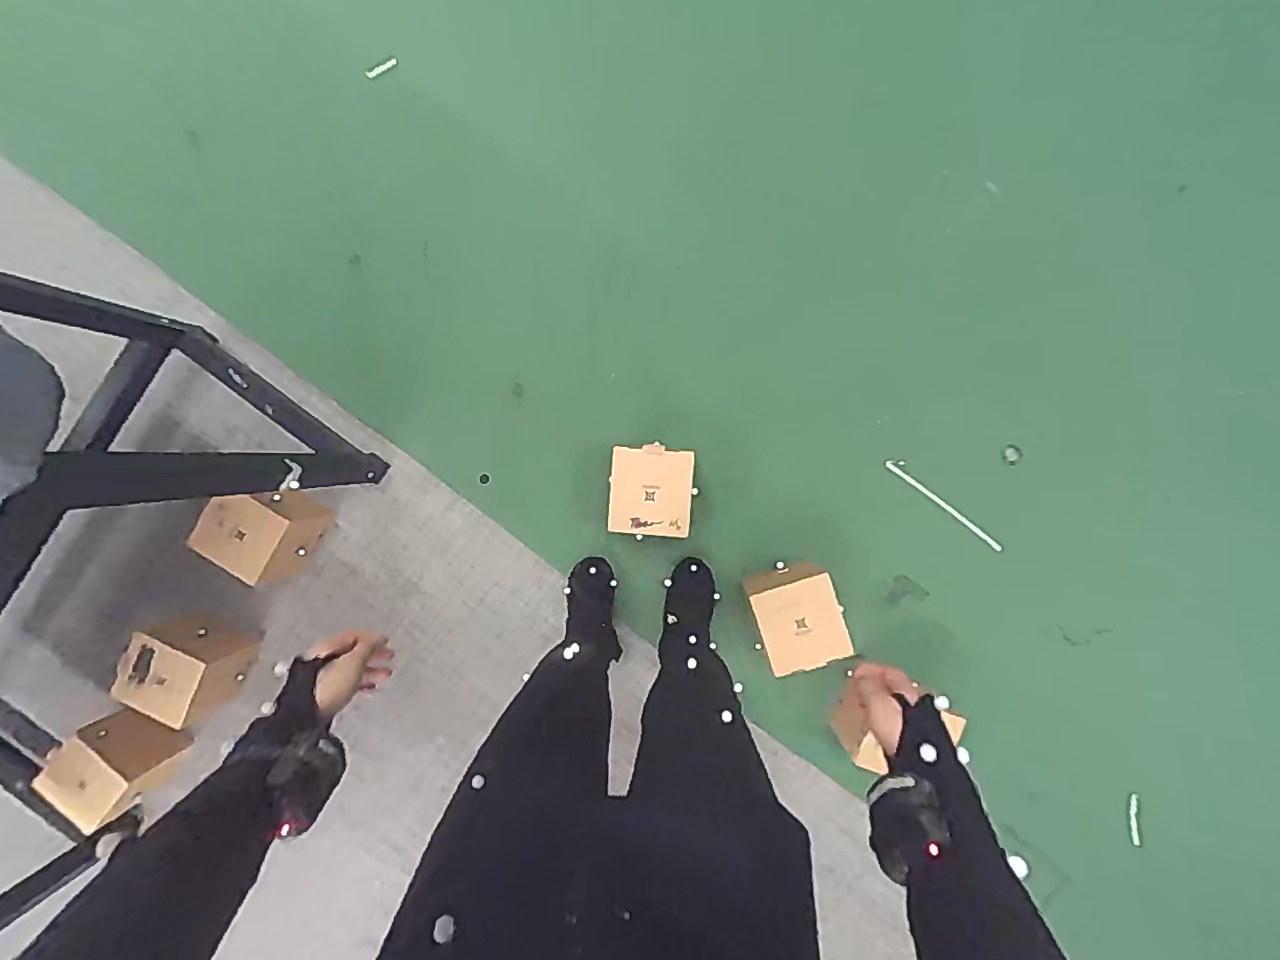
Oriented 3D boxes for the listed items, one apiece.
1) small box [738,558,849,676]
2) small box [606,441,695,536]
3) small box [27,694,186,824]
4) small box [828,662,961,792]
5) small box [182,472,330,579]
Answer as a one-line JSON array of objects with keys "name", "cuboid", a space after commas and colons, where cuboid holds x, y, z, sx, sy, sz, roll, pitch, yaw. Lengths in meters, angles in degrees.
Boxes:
[{"name": "small box", "cuboid": [0.317, 0.283, 1.147, 0.168, 0.176, 0.179, -18, 91, 4]}, {"name": "small box", "cuboid": [0.024, 0.014, 1.152, 0.168, 0.176, 0.179, 5, 93, 3]}, {"name": "small box", "cuboid": [-1.237, 0.642, 1.268, 0.179, 0.176, 0.168, 41, 95, 1]}, {"name": "small box", "cuboid": [0.525, 0.509, 1.146, 0.179, 0.176, 0.168, 21, 94, 1]}, {"name": "small box", "cuboid": [-0.844, 0.090, 1.208, 0.179, 0.176, 0.168, 32, 94, 1]}]
